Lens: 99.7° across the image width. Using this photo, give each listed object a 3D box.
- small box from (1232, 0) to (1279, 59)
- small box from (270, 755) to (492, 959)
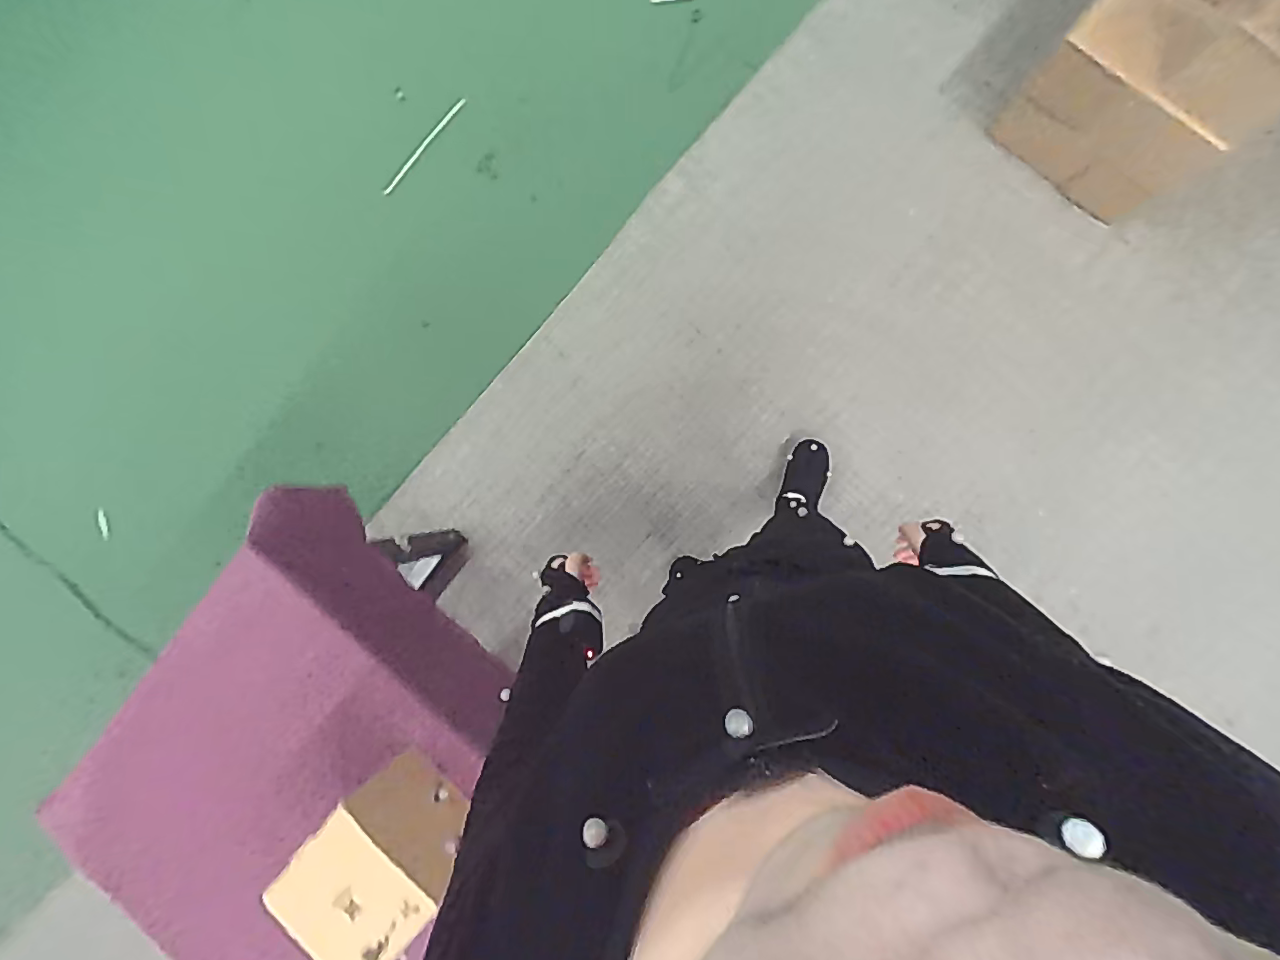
[{"bbox_3d":[1.133,-0.825,0.856,0.179,0.176,0.168,-44,85,3],"label":"small box"},{"bbox_3d":[-0.343,0.516,0.746,0.179,0.176,0.168,41,94,7],"label":"small box"}]
